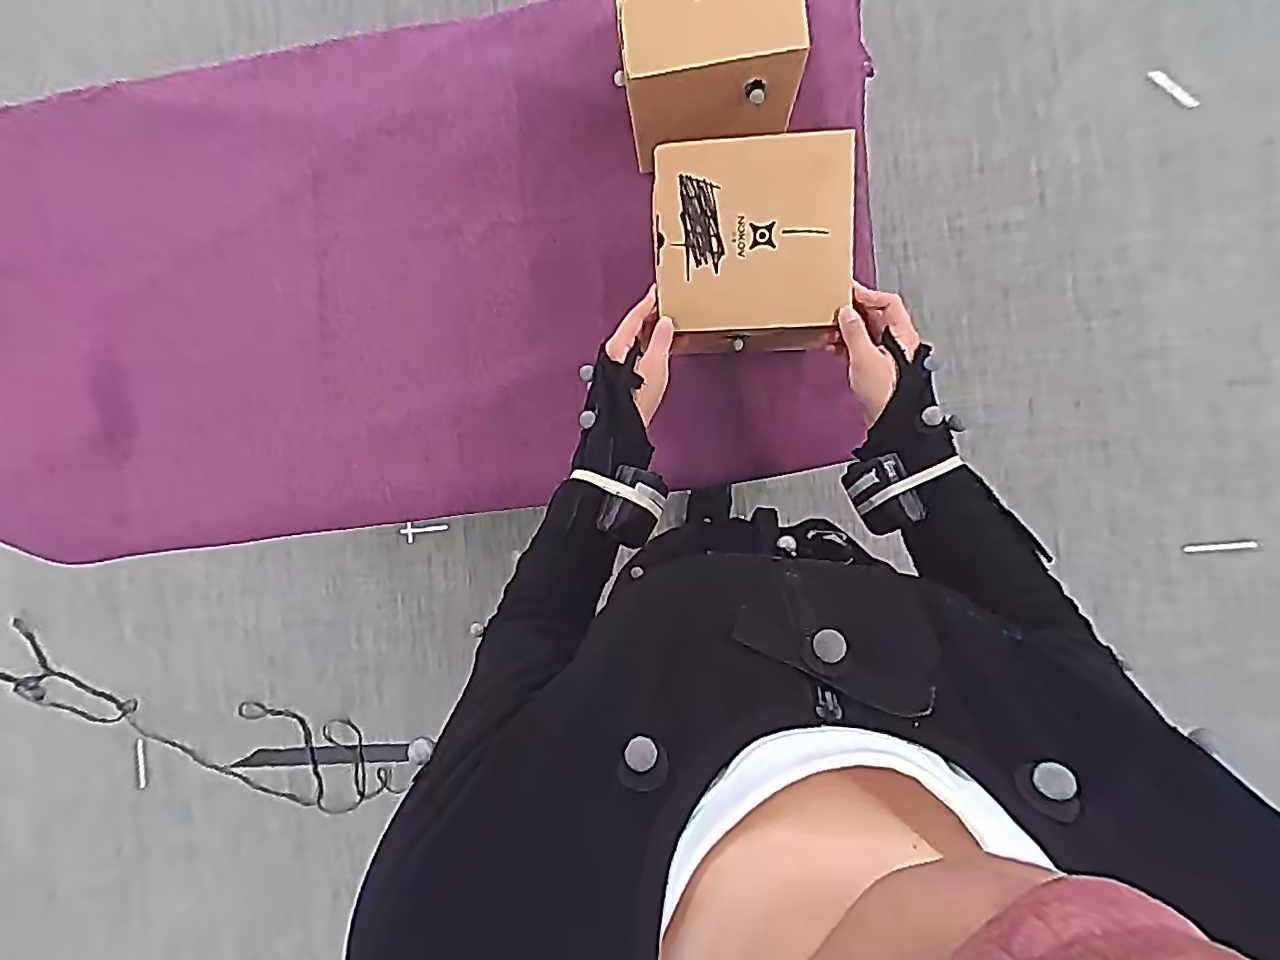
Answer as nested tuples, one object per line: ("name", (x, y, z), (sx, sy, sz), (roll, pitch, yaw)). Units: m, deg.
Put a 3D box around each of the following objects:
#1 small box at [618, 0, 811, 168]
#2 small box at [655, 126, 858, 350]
("small box", (0.072, -0.472, 0.583), (0.179, 0.176, 0.168), (-6, 90, 6))
("small box", (0.112, -0.229, 0.558), (0.179, 0.176, 0.168), (-1, 97, 7))
